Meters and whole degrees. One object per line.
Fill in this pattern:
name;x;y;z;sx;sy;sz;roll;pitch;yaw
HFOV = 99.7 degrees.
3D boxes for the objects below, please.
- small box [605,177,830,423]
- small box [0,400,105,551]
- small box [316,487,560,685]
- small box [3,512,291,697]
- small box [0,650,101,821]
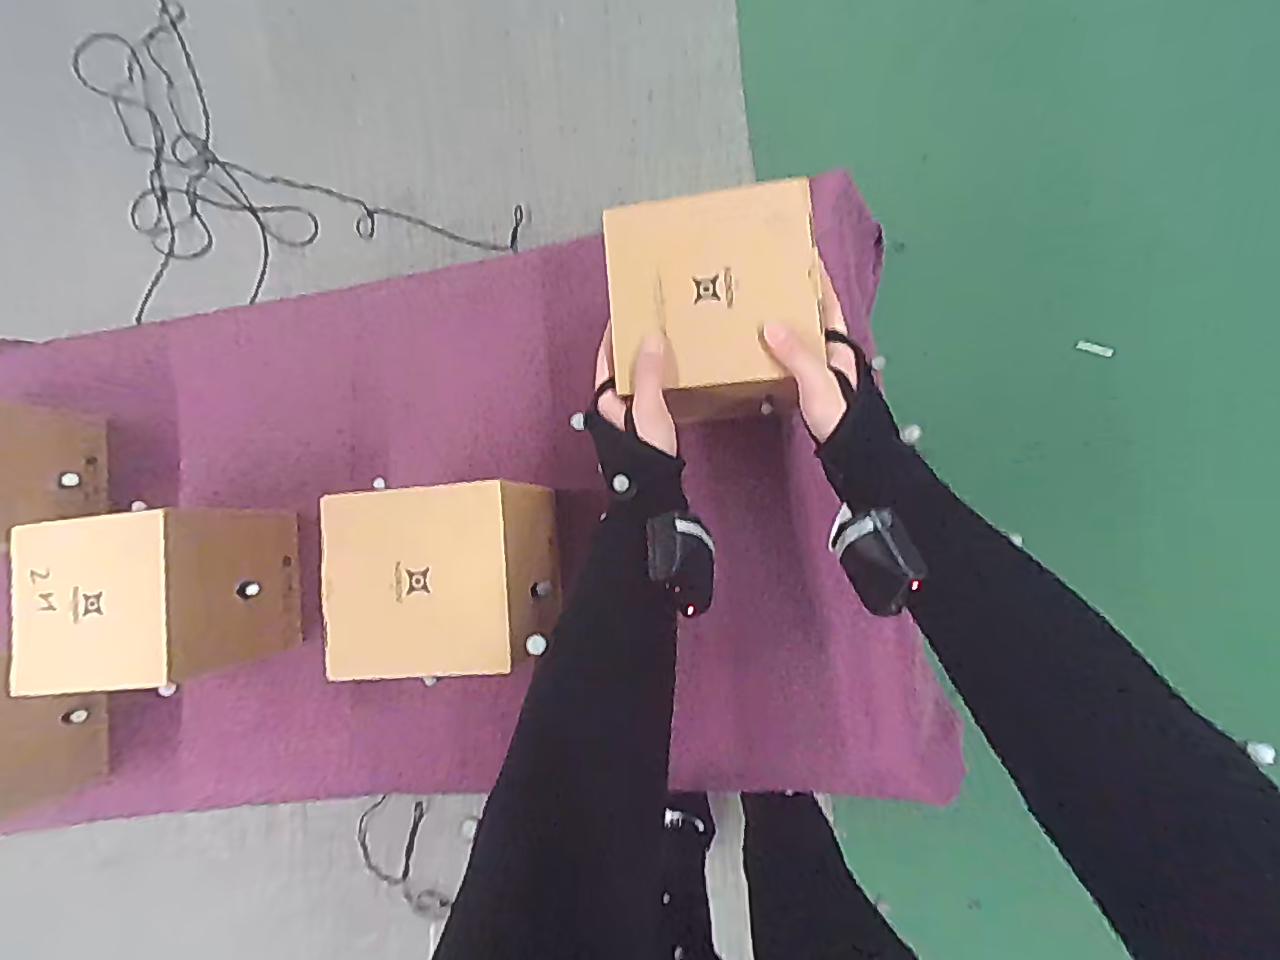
small box;0.072;-0.153;0.519;0.179;0.176;0.168;-4;85;9
small box;-0.791;0.001;0.632;0.179;0.176;0.168;-6;86;7
small box;-0.185;0.095;0.542;0.179;0.176;0.168;-5;86;9
small box;-0.511;0.122;0.584;0.179;0.176;0.168;-5;85;8
small box;-0.764;0.289;0.608;0.168;0.176;0.179;-8;84;8
